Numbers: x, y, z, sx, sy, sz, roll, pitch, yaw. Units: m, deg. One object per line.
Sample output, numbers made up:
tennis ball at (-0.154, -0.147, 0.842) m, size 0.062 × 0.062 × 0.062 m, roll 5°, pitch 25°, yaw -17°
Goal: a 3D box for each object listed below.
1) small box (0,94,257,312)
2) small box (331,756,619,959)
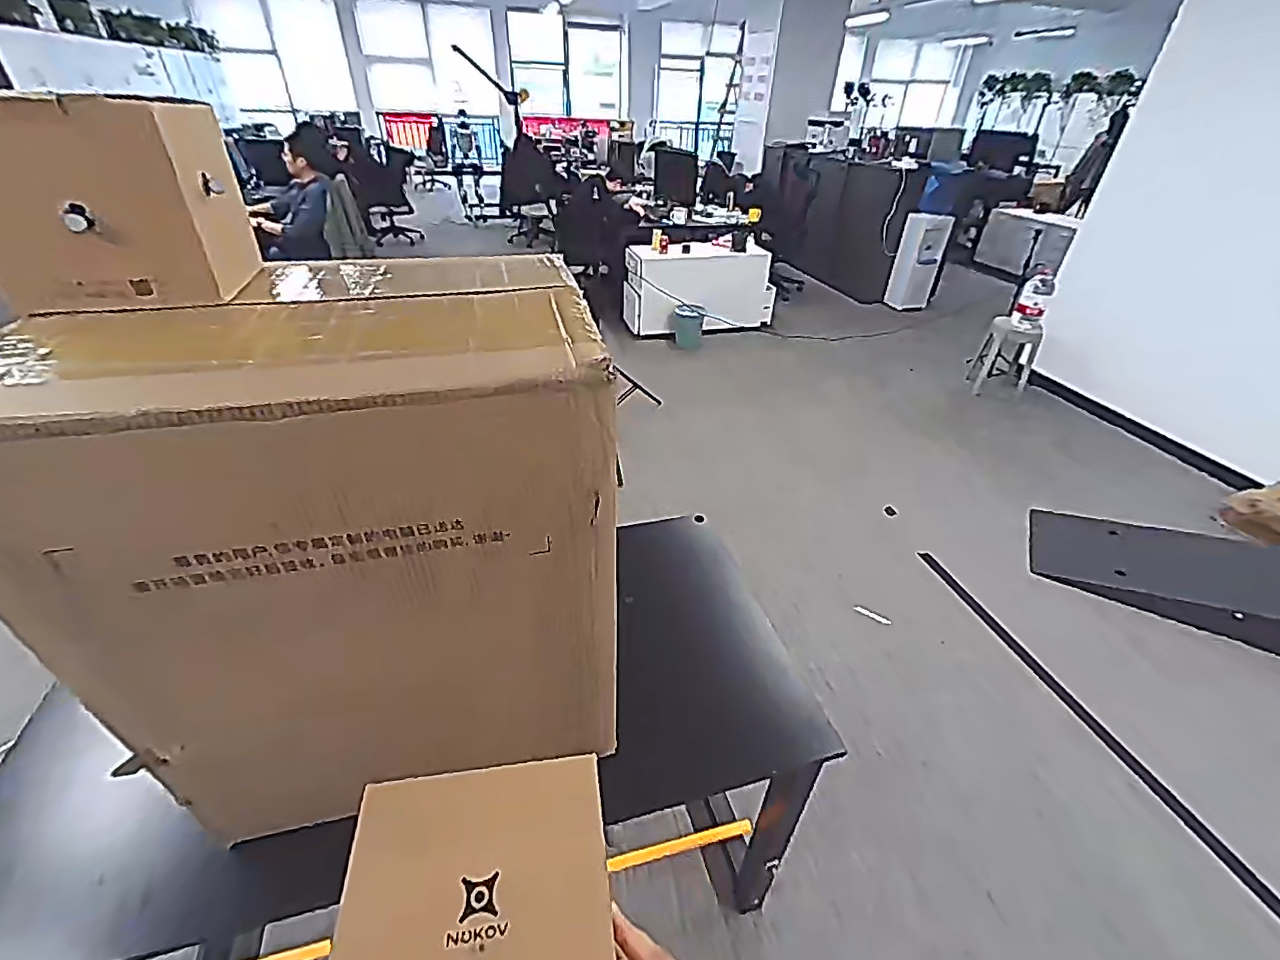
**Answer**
small box at (-0.504, -0.266, 0.522) m, size 0.168 × 0.176 × 0.179 m, roll -10°, pitch 35°, yaw -17°
small box at (-0.103, 0.326, 0.377) m, size 0.168 × 0.176 × 0.179 m, roll -3°, pitch 39°, yaw -9°
